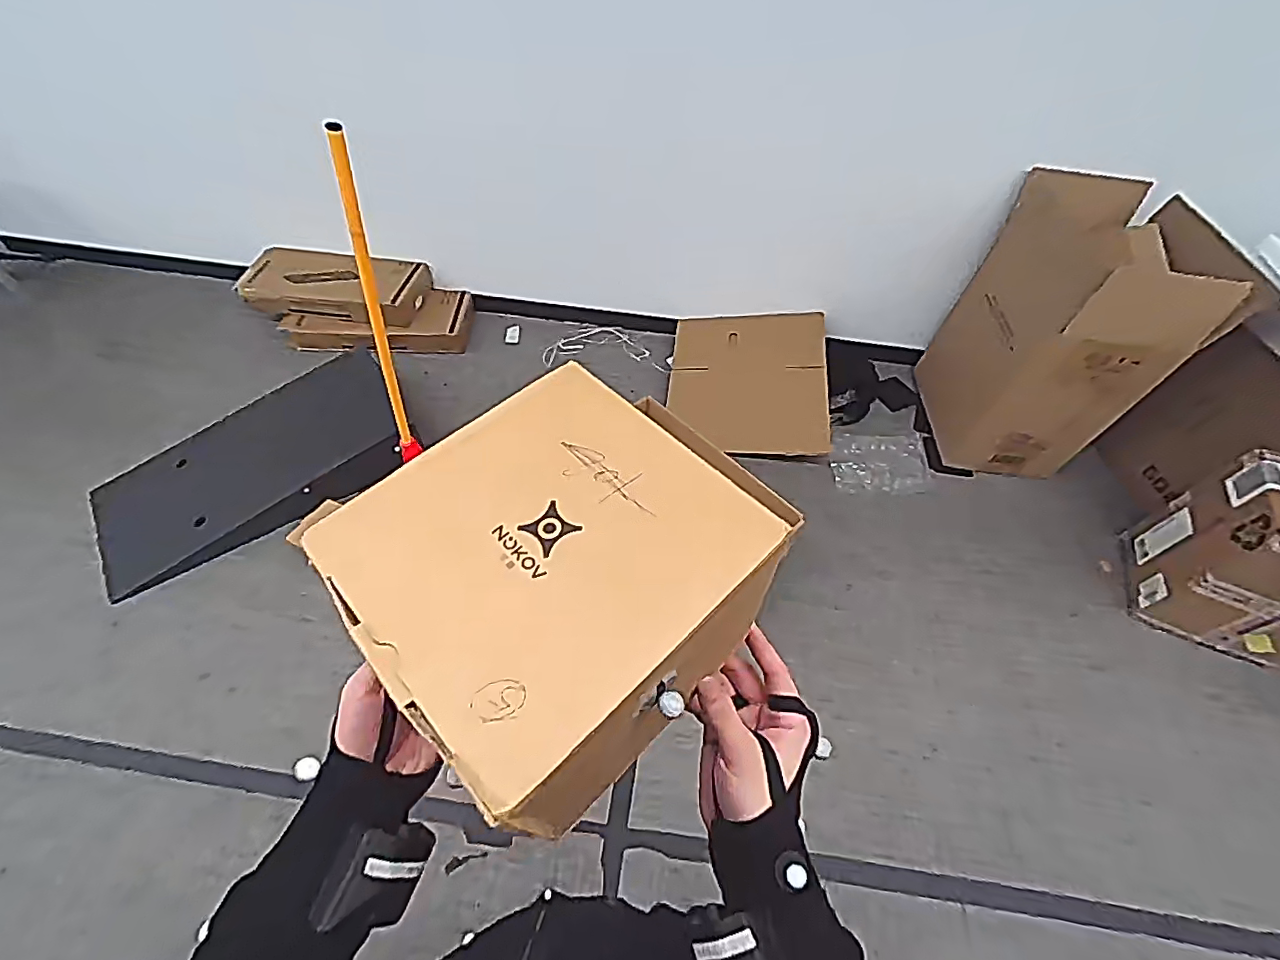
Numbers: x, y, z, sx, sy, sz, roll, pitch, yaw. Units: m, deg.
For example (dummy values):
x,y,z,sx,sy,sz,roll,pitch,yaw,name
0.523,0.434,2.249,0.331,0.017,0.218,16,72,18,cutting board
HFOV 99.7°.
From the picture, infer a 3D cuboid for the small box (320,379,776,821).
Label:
x,y,z,sx,sy,sz,roll,pitch,yaw,name
-0.045,0.079,0.337,0.179,0.176,0.168,-39,64,-24,small box
